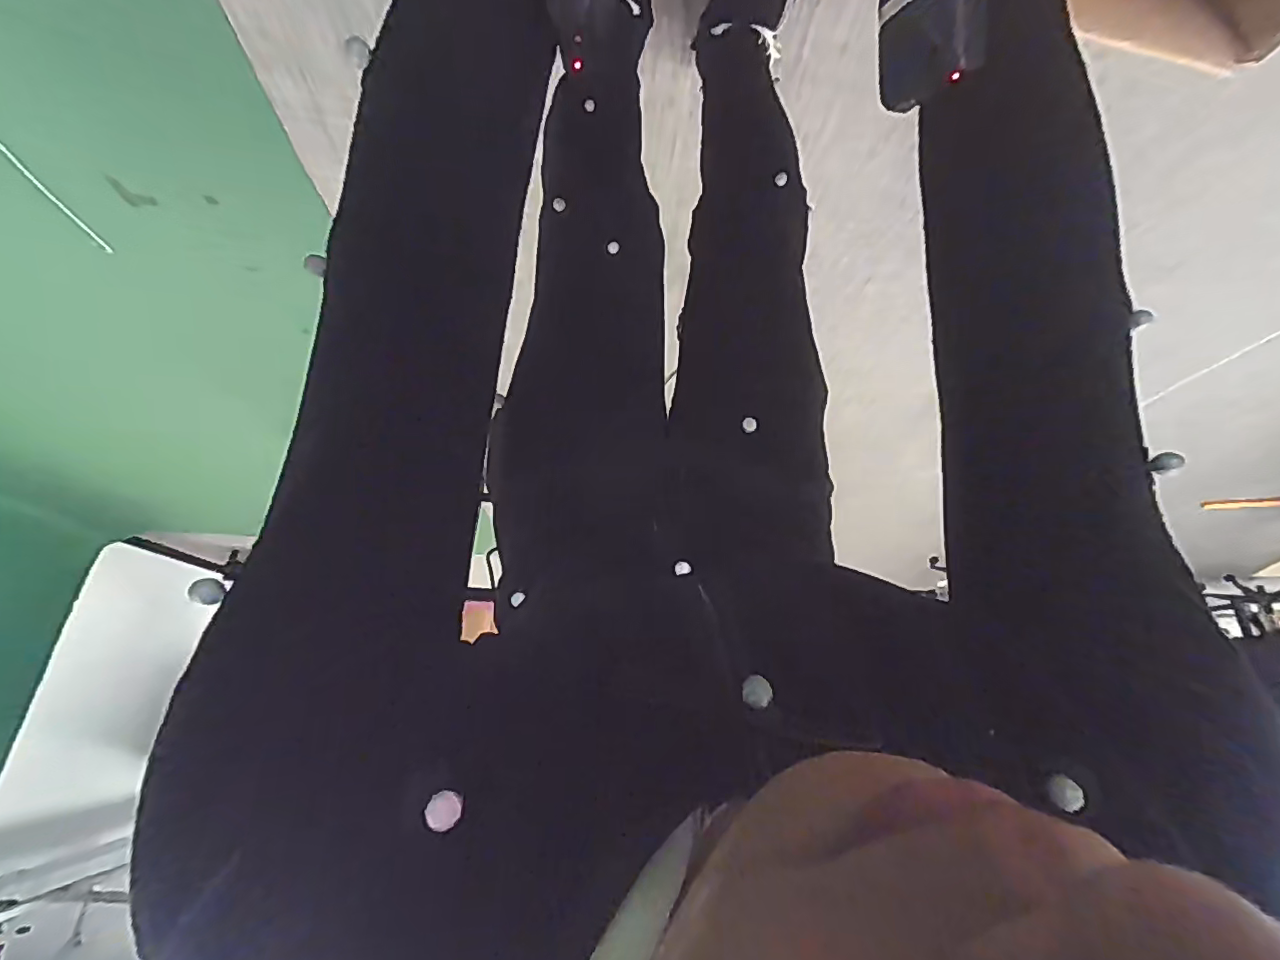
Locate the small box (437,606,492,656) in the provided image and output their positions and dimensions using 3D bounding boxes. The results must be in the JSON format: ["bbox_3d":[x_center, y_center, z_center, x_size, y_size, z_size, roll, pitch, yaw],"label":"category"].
[{"bbox_3d":[-0.686,0.598,2.132,0.168,0.176,0.179,4,158,-6],"label":"small box"}]
